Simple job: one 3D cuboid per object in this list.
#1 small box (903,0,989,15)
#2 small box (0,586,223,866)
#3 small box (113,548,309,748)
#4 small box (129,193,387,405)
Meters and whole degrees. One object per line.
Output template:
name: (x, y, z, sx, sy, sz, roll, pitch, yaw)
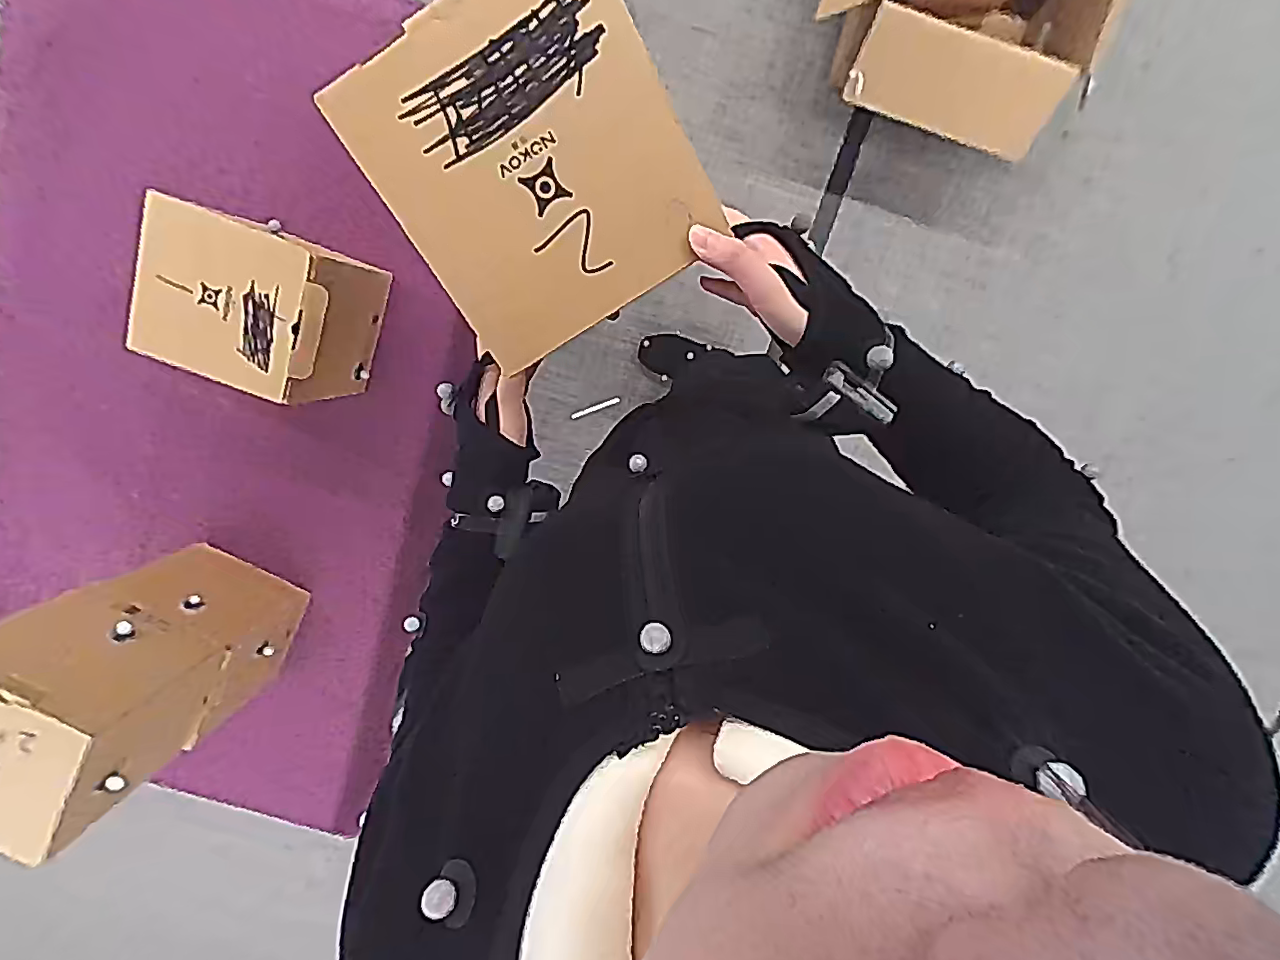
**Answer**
small box: (0.604, -0.991, 0.986, 0.179, 0.176, 0.168, -6, 105, -2)
small box: (-0.604, 0.248, 0.580, 0.168, 0.176, 0.179, 29, 101, -6)
small box: (-0.601, 0.216, 0.741, 0.179, 0.176, 0.168, 28, 102, -5)
small box: (-0.430, -0.203, 0.635, 0.179, 0.176, 0.168, 20, 103, -2)
